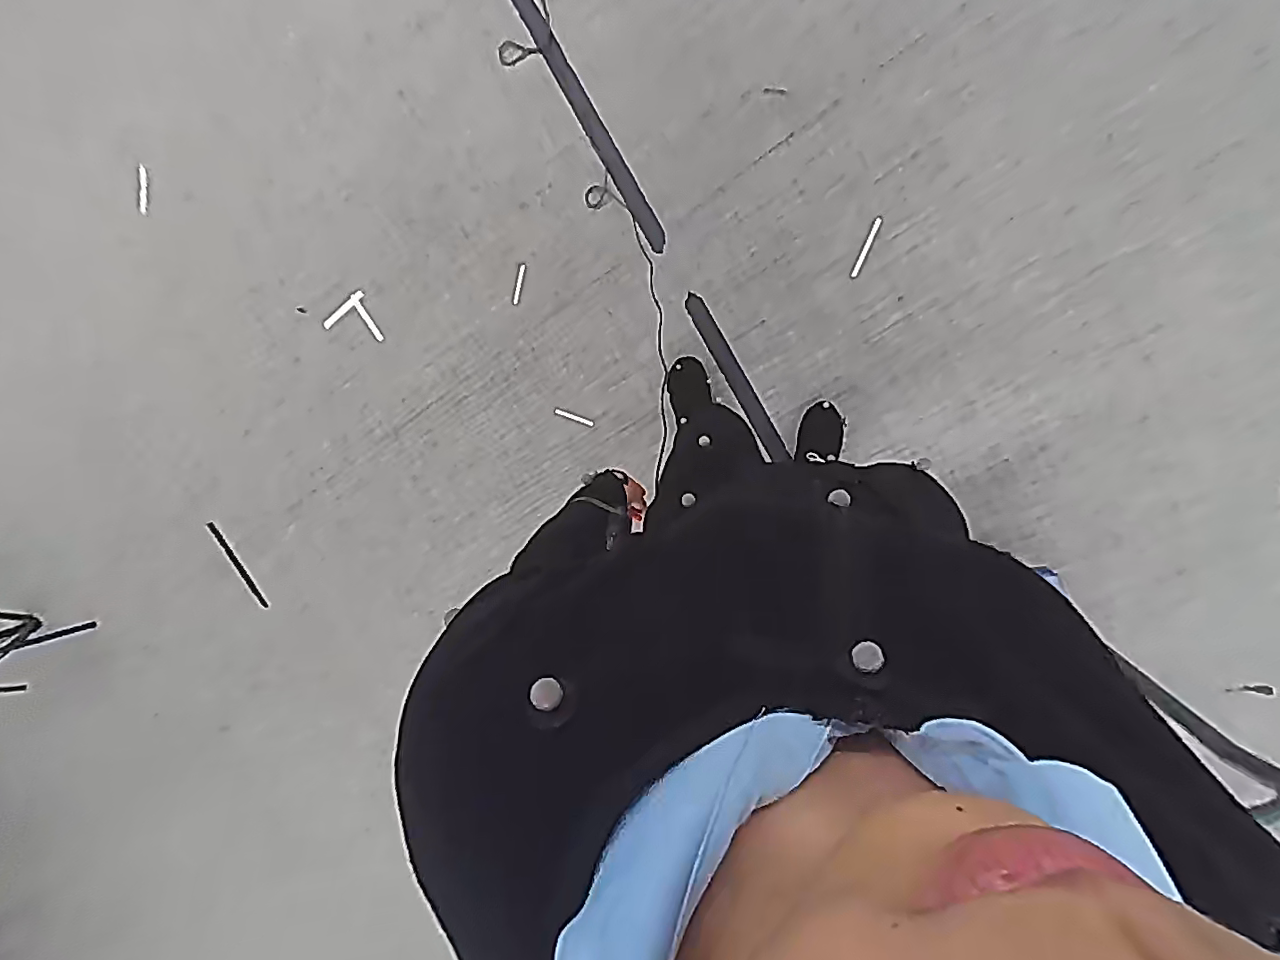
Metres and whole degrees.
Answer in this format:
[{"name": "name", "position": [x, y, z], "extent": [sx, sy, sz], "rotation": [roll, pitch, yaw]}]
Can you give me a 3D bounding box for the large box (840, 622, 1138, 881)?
[{"name": "large box", "position": [0.698, 0.564, 1.160], "extent": [0.408, 0.320, 0.320], "rotation": [-25, 94, 18]}]
